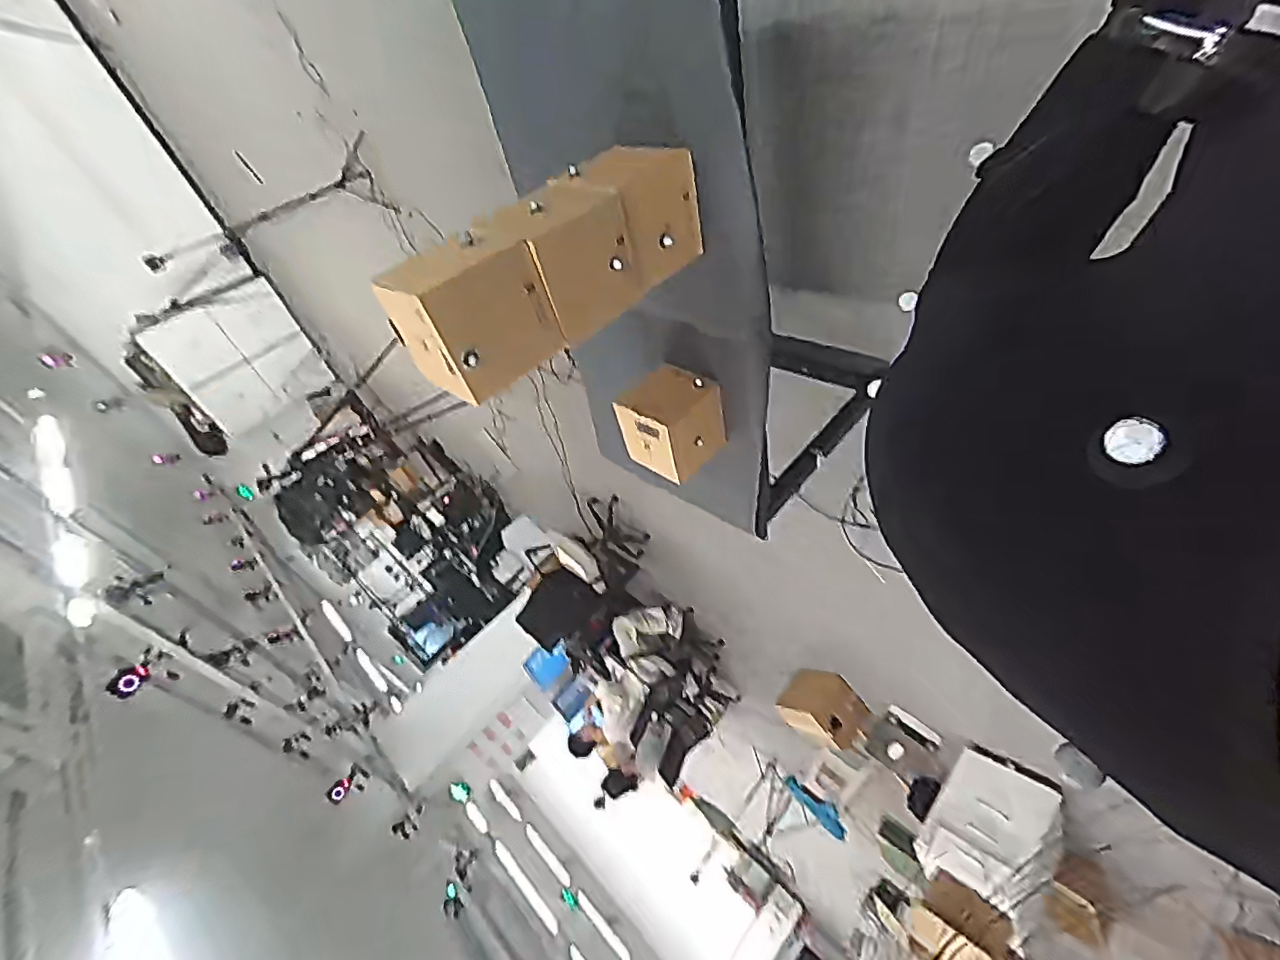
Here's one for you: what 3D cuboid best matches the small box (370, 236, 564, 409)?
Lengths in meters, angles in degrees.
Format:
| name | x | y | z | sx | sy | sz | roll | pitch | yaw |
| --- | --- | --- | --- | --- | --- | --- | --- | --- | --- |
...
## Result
| name | x | y | z | sx | sy | sz | roll | pitch | yaw |
| --- | --- | --- | --- | --- | --- | --- | --- | --- | --- |
| small box | -0.241 | -0.233 | 0.777 | 0.179 | 0.176 | 0.168 | 28 | 150 | 40 |

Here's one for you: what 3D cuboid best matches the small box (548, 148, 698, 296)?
| name | x | y | z | sx | sy | sz | roll | pitch | yaw |
| --- | --- | --- | --- | --- | --- | --- | --- | --- | --- |
| small box | -0.018 | -0.436 | 0.906 | 0.179 | 0.176 | 0.168 | 29 | 150 | 37 |

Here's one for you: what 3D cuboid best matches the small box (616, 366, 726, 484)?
| name | x | y | z | sx | sy | sz | roll | pitch | yaw |
| --- | --- | --- | --- | --- | --- | --- | --- | --- | --- |
| small box | 0.075 | -0.130 | 1.216 | 0.168 | 0.176 | 0.179 | 30 | 151 | 36 |
